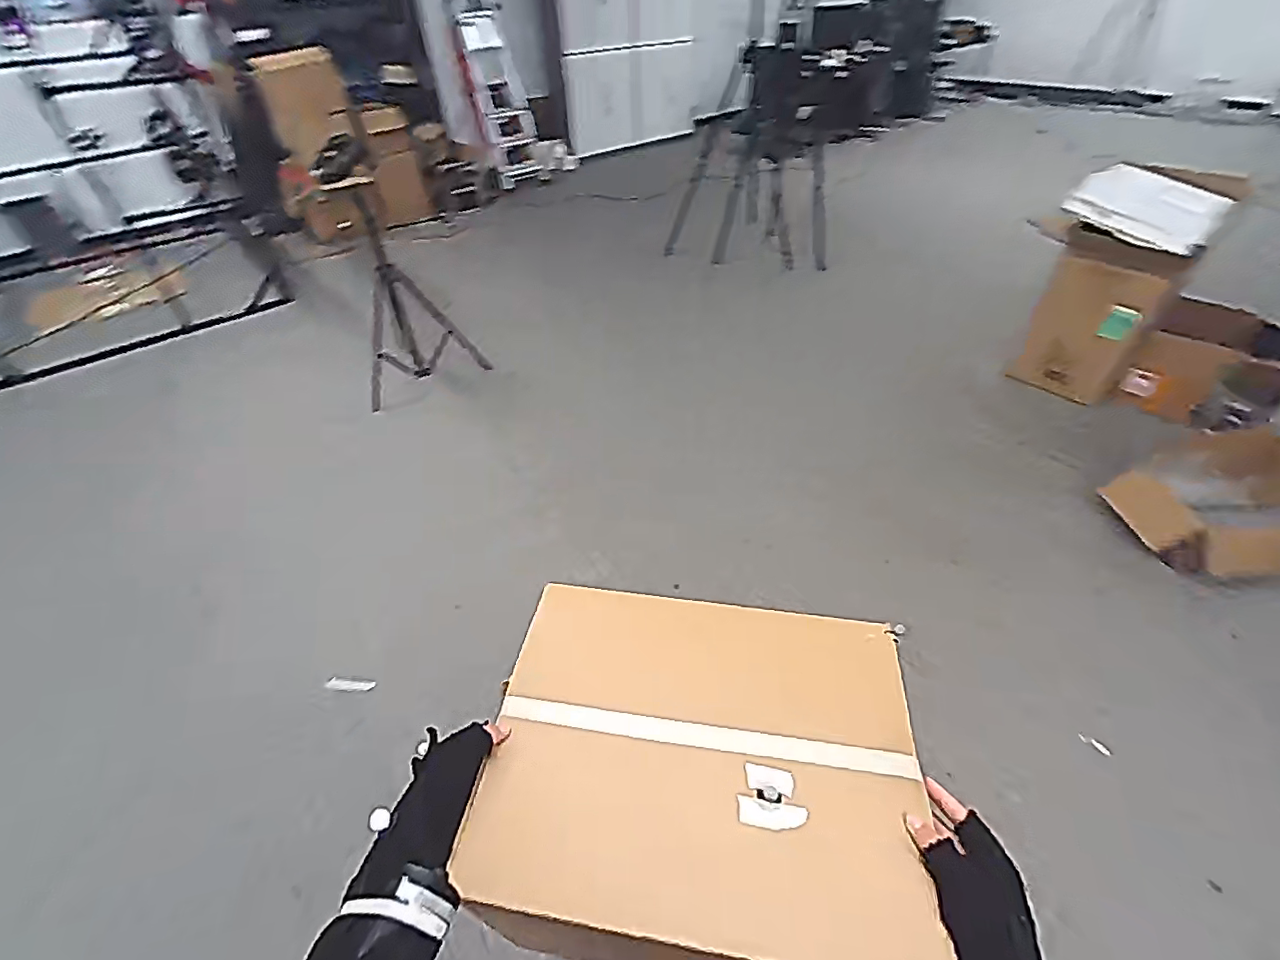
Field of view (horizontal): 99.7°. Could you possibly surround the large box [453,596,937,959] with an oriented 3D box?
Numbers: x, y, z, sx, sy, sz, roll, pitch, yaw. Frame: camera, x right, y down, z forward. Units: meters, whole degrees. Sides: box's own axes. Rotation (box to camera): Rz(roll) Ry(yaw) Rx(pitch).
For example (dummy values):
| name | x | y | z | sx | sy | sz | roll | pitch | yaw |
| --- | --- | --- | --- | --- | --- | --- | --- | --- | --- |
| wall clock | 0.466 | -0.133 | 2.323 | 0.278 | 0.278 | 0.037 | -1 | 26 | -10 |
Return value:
| name | x | y | z | sx | sy | sz | roll | pitch | yaw |
| --- | --- | --- | --- | --- | --- | --- | --- | --- | --- |
| large box | 0.056 | 0.369 | 0.645 | 0.408 | 0.320 | 0.320 | 5 | 44 | 7 |
